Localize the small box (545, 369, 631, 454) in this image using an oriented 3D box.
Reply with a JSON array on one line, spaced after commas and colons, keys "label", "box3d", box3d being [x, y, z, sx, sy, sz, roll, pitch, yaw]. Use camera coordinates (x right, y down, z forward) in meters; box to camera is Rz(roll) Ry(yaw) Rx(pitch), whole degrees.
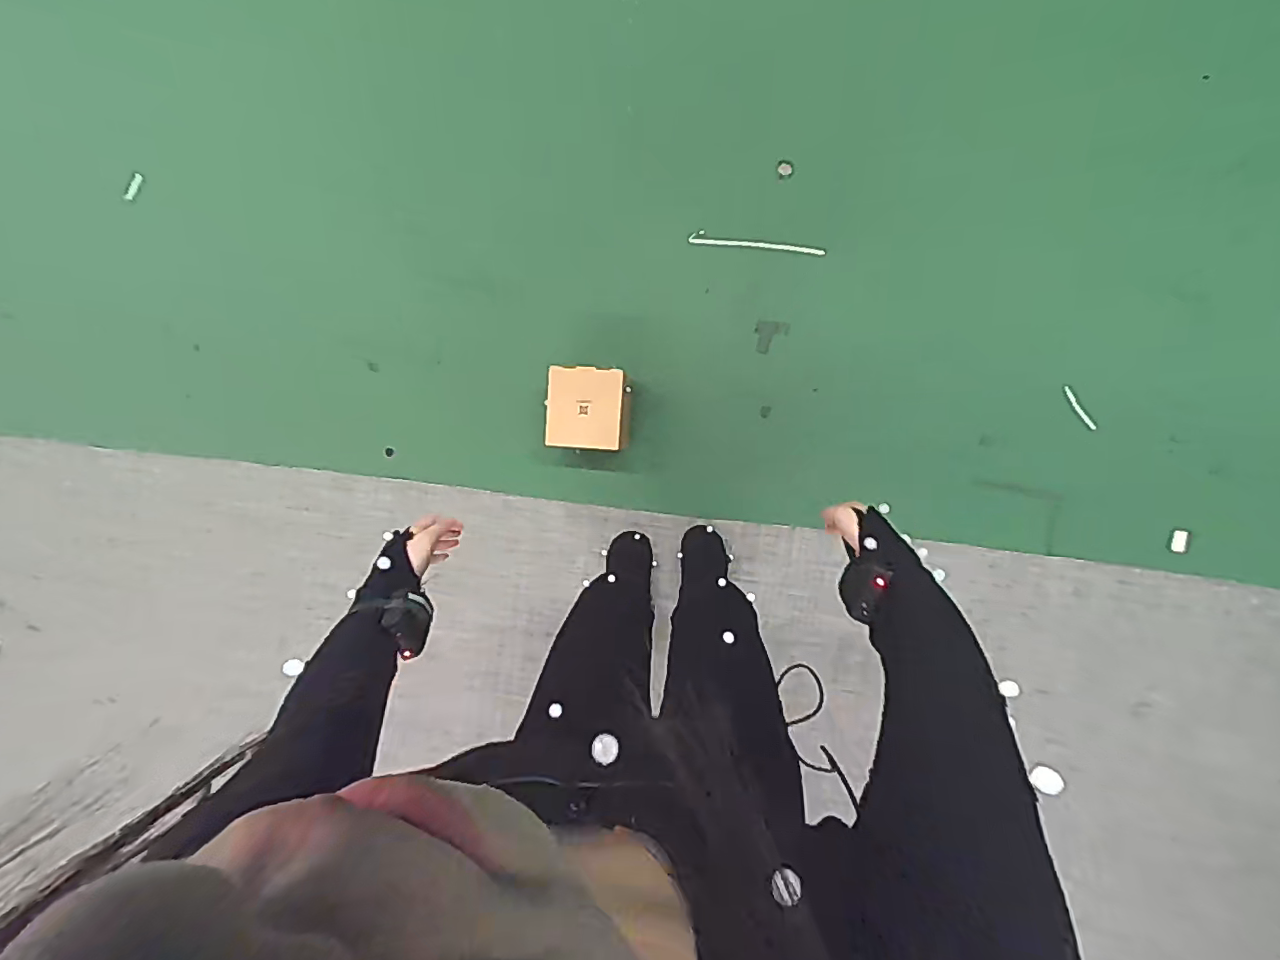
[{"label": "small box", "box3d": [-0.114, -0.155, 1.254, 0.168, 0.176, 0.179, 4, 94, 6]}]
